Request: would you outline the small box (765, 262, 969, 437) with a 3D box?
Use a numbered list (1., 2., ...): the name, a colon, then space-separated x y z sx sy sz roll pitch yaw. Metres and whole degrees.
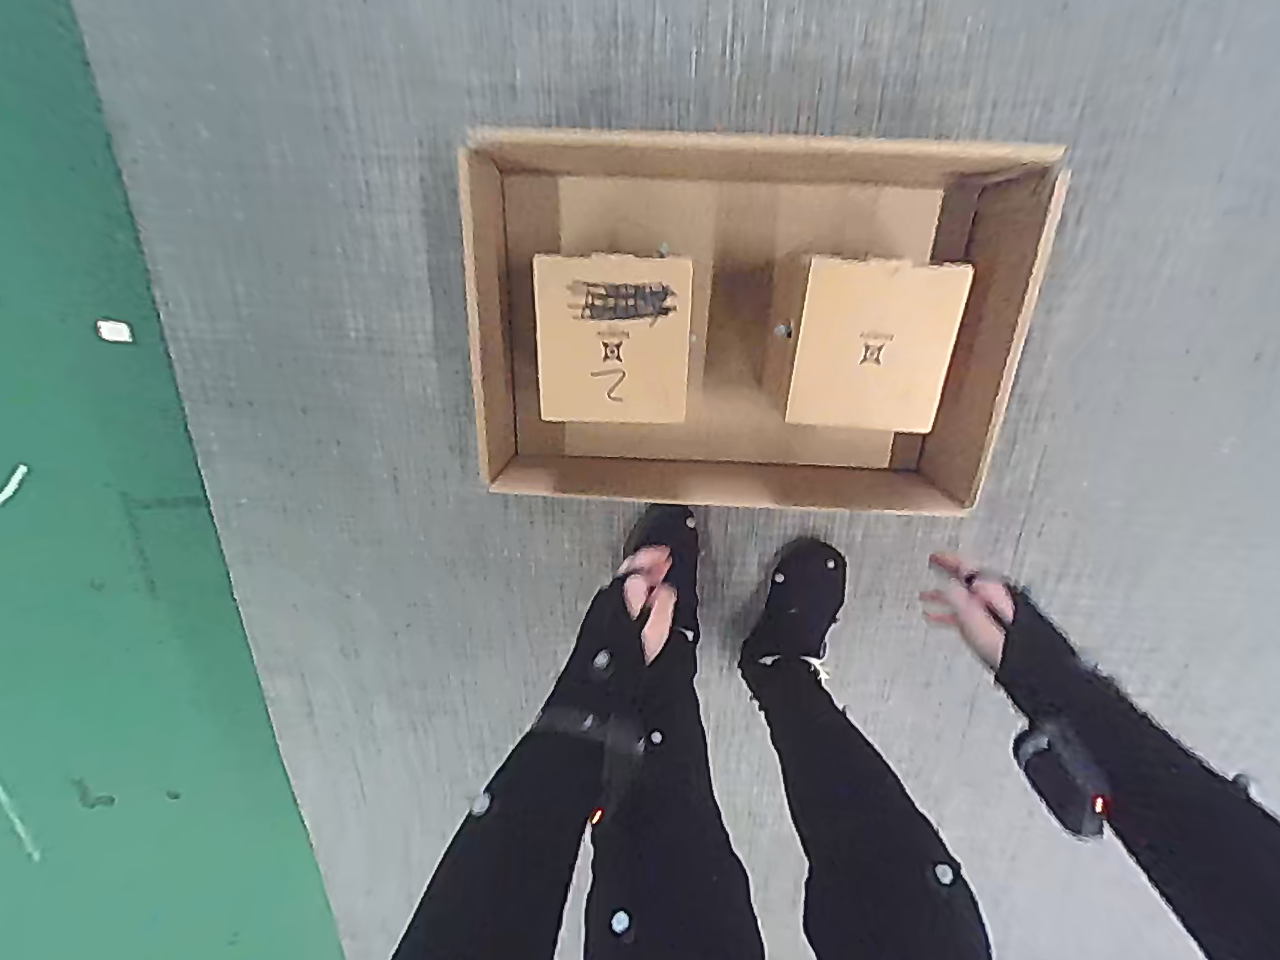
1. small box: 0.253 -0.164 0.654 0.168 0.176 0.179 4 110 2
